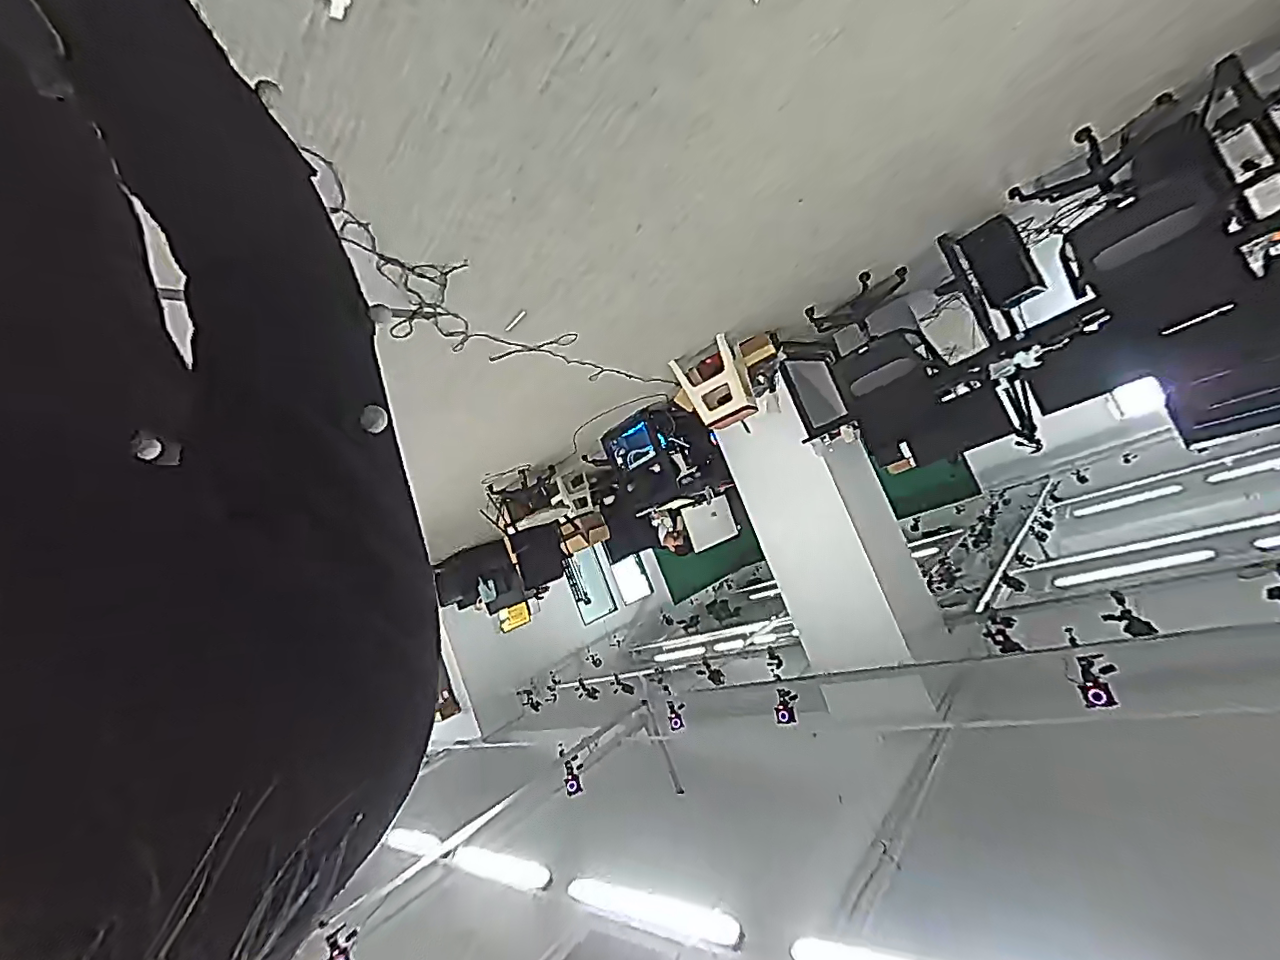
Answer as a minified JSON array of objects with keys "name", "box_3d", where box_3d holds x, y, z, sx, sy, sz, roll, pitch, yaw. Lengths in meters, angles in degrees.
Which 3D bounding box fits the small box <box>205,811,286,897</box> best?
[{"name":"small box","box_3d":[-1.301,1.221,1.780,0.179,0.176,0.168,-27,171,40]}]
